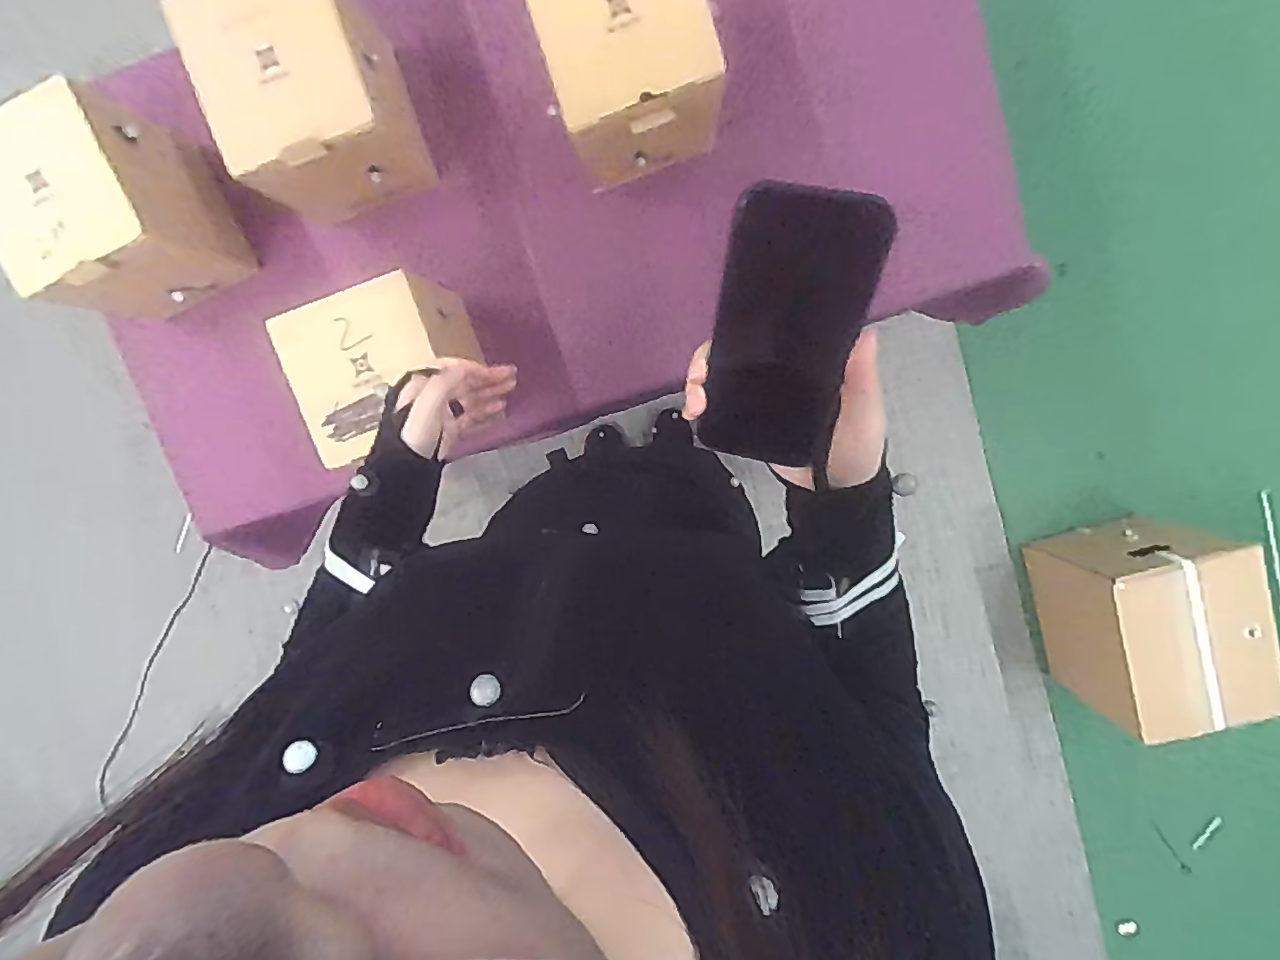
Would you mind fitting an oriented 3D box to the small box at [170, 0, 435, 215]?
[{"bbox_3d":[-0.365,-0.430,0.624,0.168,0.176,0.179,-17,98,4],"label":"small box"}]

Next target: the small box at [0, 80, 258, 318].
[{"bbox_3d":[-0.623,-0.317,0.653,0.168,0.176,0.179,-23,97,6],"label":"small box"}]

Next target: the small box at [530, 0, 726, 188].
[{"bbox_3d":[-0.015,-0.467,0.601,0.168,0.176,0.179,-18,98,6],"label":"small box"}]
